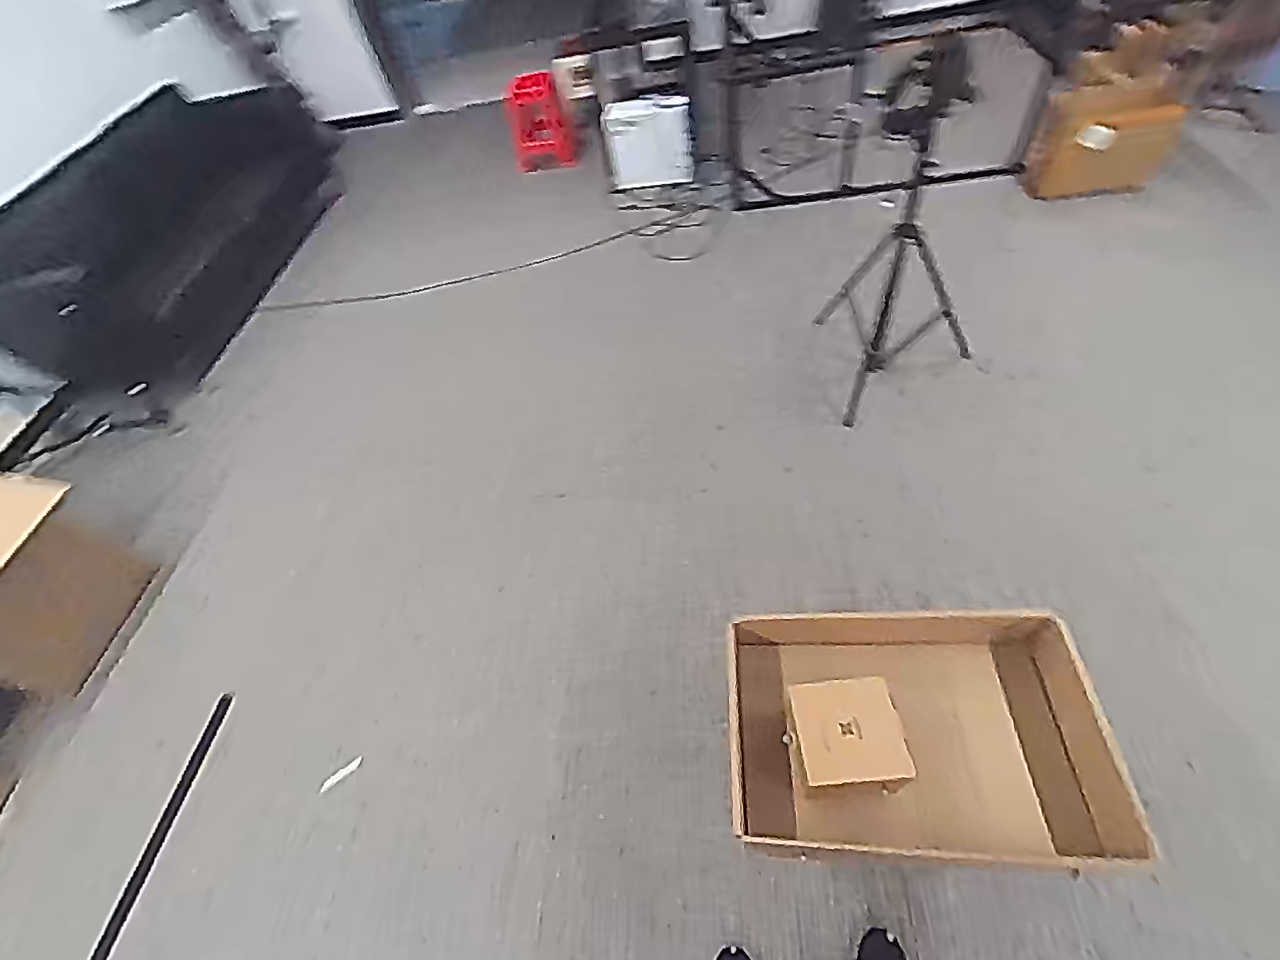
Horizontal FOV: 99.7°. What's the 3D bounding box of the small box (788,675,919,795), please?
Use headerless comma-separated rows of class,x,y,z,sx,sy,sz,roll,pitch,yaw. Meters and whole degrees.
small box,0.379,0.474,0.997,0.179,0.176,0.168,-9,52,6
